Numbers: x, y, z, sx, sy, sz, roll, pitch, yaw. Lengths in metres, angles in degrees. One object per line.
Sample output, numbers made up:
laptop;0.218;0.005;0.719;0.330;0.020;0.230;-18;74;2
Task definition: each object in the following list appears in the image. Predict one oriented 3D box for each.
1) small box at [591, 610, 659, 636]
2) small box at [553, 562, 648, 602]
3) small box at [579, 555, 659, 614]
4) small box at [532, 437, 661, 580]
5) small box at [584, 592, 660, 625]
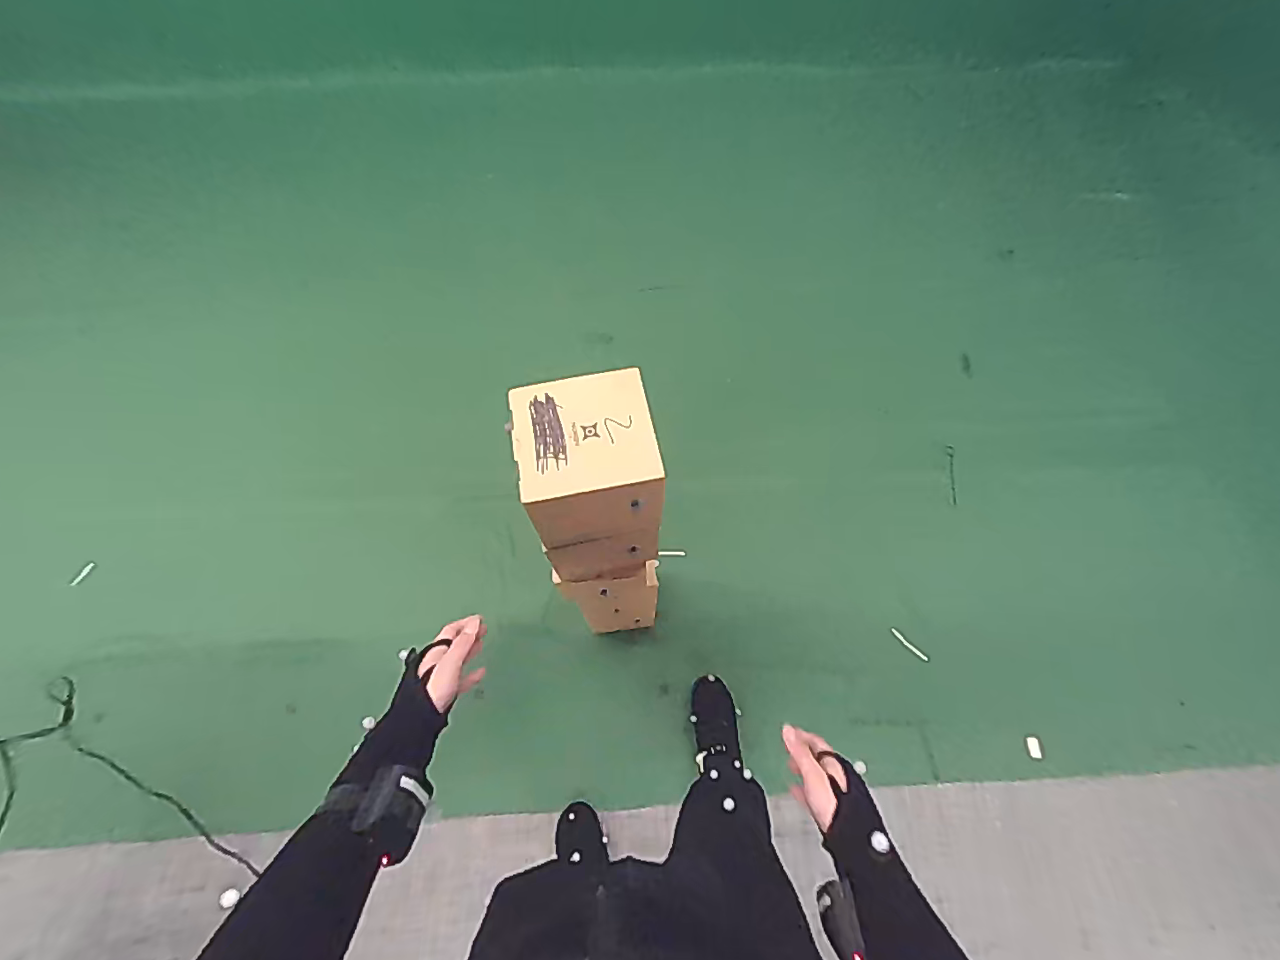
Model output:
small box;-0.049;0.325;1.482;0.179;0.176;0.168;-7;65;-3
small box;-0.071;0.132;1.034;0.168;0.176;0.179;-4;66;-1
small box;-0.055;0.189;1.186;0.179;0.176;0.168;-7;65;-3
small box;-0.068;0.053;0.890;0.179;0.176;0.168;-12;65;-4
small box;-0.048;0.257;1.336;0.179;0.176;0.168;-5;65;-2
